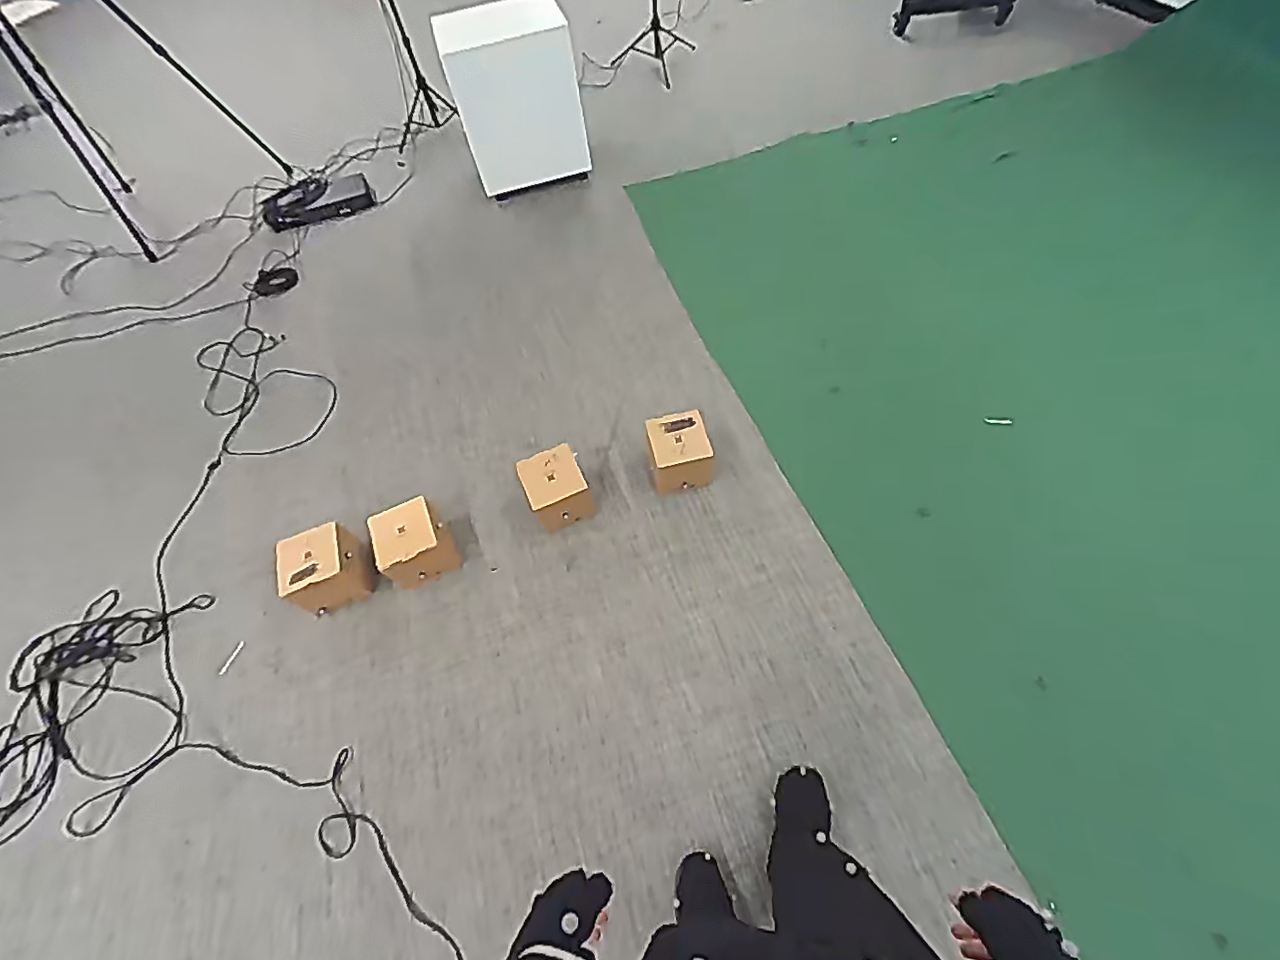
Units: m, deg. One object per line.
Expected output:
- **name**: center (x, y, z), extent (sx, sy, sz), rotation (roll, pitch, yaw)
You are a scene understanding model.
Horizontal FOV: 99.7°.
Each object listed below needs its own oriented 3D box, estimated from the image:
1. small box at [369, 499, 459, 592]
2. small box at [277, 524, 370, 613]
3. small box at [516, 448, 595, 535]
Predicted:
- **small box**: center (-0.641, 0.189, 1.542), extent (0.168, 0.176, 0.179), rotation (-24, 60, -9)
- **small box**: center (-0.886, 0.257, 1.523), extent (0.168, 0.176, 0.179), rotation (-21, 58, -8)
- **small box**: center (-0.244, 0.042, 1.594), extent (0.168, 0.176, 0.179), rotation (-23, 59, -10)
